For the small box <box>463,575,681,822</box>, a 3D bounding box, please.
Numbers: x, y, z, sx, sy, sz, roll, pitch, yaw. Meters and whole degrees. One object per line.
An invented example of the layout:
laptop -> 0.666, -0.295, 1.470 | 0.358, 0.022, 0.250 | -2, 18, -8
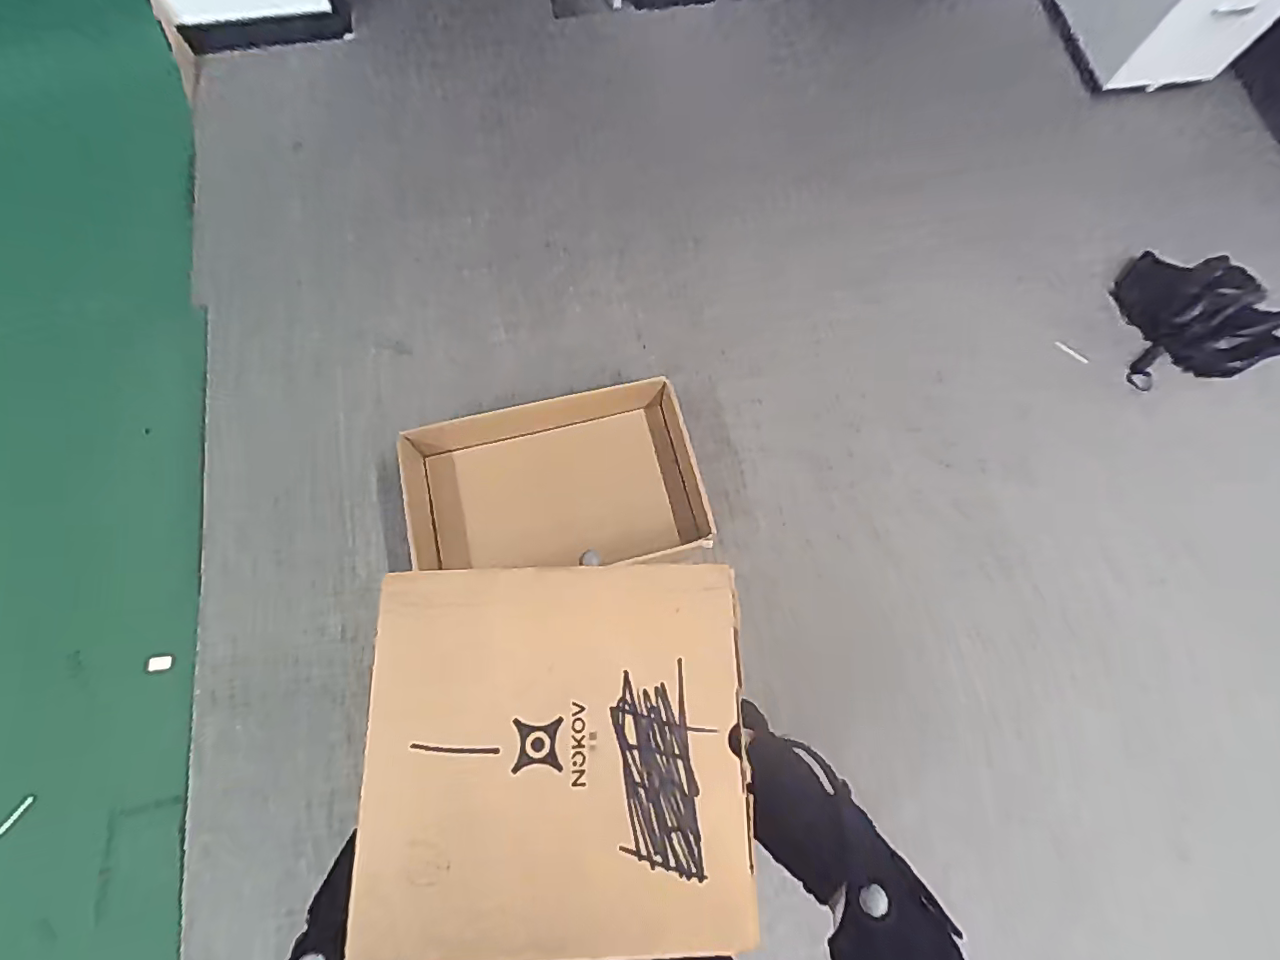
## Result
small box -> -0.054, 0.187, 0.497 | 0.168, 0.176, 0.179 | -3, 73, -2
